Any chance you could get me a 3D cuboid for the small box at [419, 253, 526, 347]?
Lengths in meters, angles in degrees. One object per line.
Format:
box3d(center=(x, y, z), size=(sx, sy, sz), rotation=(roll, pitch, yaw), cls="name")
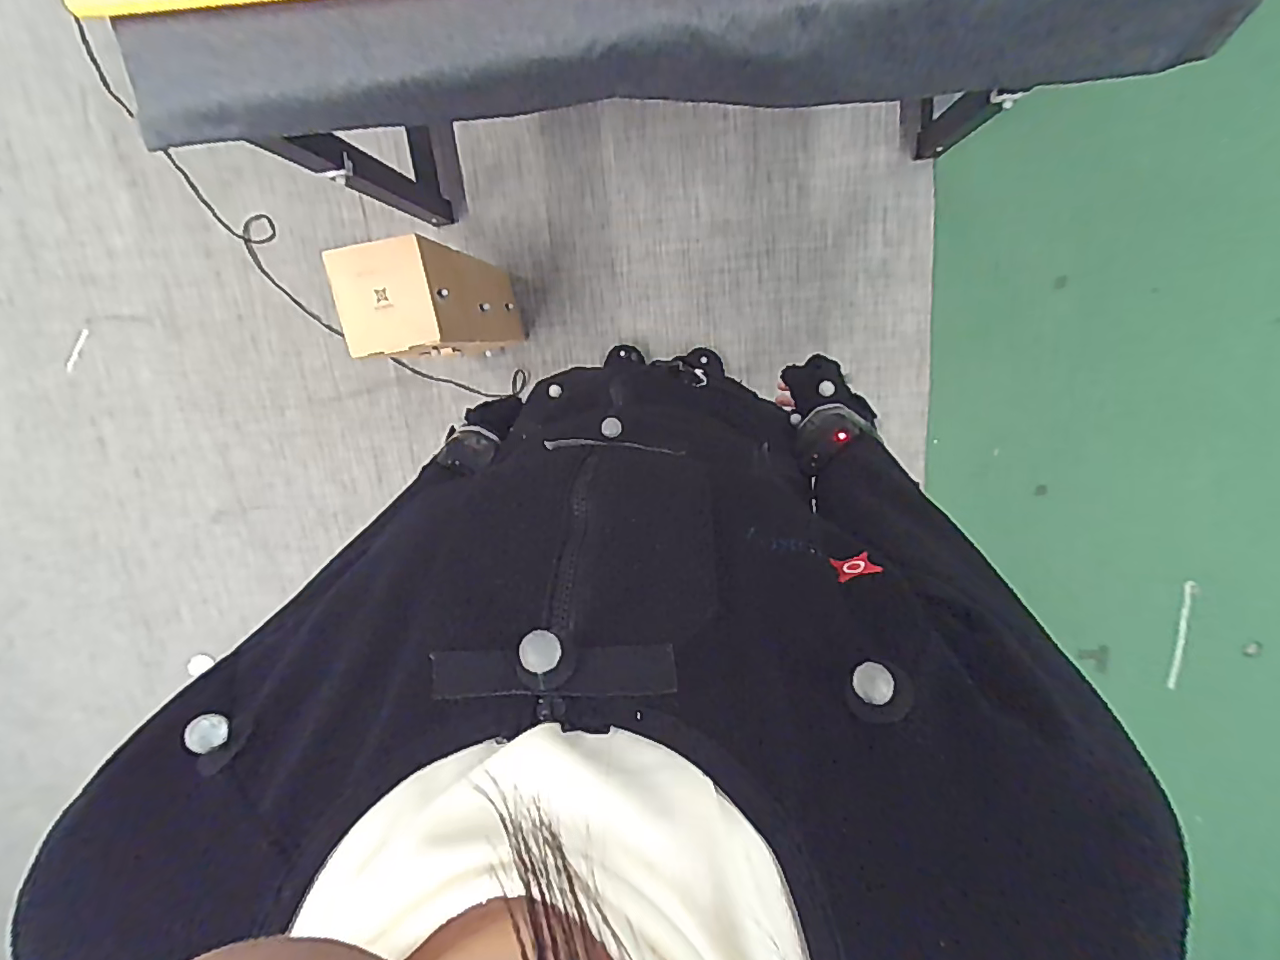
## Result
box3d(center=(-0.387, -0.419, 1.281), size=(0.168, 0.176, 0.179), rotation=(-11, 104, 8), cls="small box")
